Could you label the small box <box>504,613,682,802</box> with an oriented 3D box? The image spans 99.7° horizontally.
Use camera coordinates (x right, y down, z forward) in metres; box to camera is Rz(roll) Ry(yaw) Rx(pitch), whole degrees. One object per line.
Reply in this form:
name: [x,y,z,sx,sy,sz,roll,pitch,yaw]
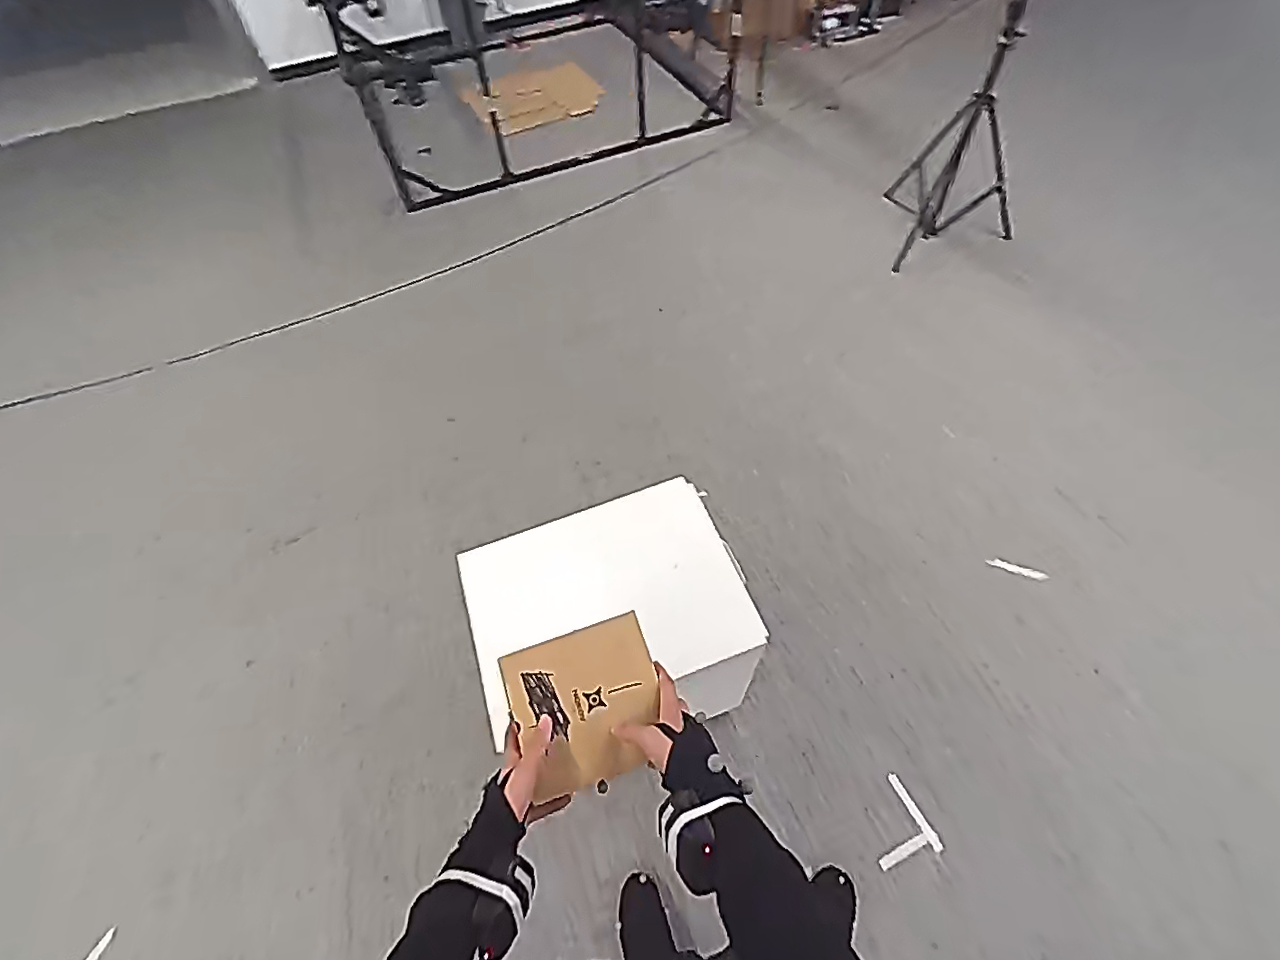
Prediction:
small box: [-0.059,0.294,0.698,0.179,0.176,0.168,-16,65,-10]
